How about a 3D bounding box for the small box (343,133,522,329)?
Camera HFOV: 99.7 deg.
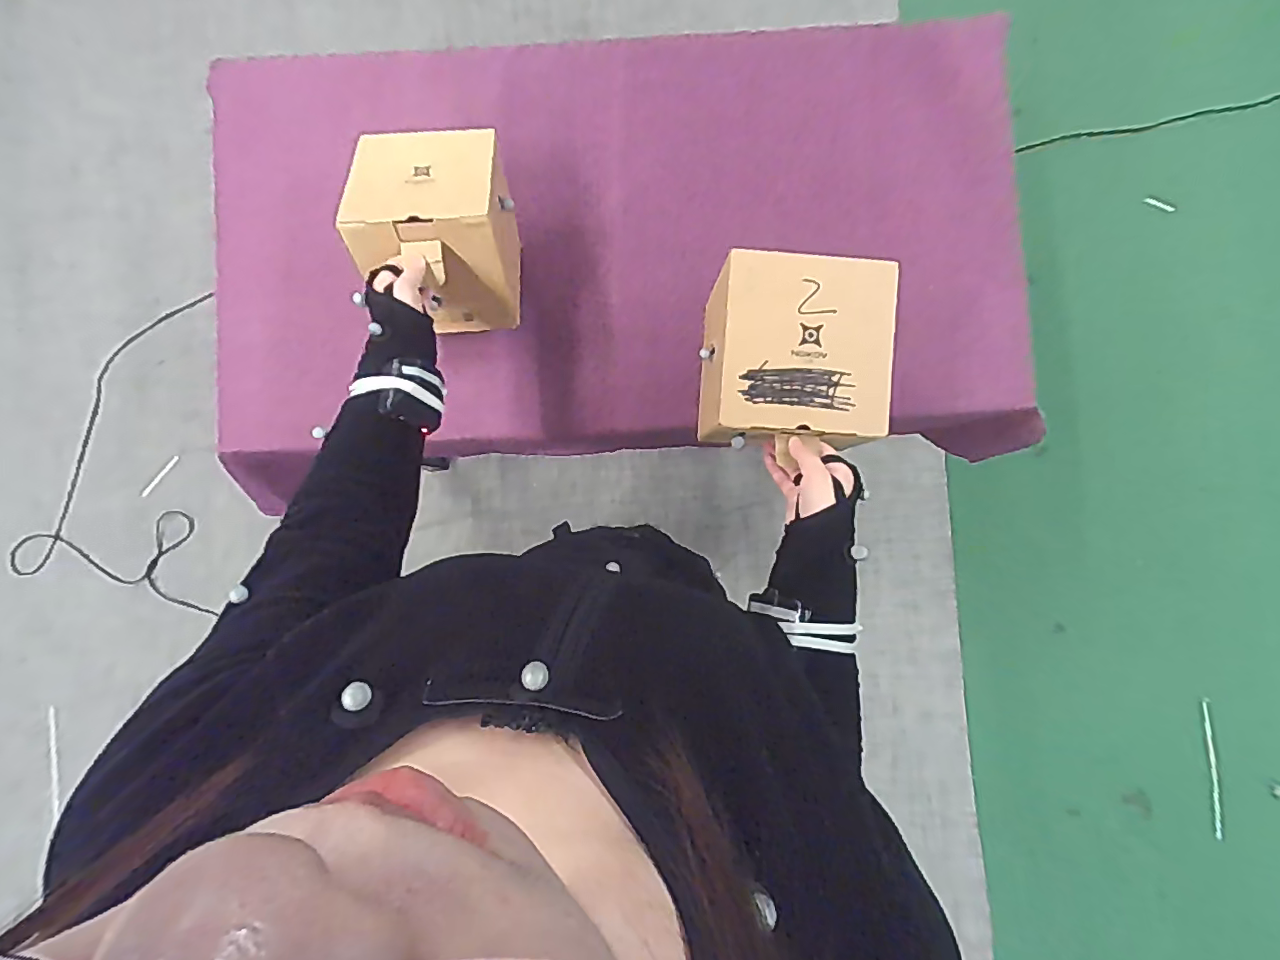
[{"bbox_3d":[-0.253,-0.321,0.709,0.168,0.176,0.179,-3,61,-2],"label":"small box"}]
